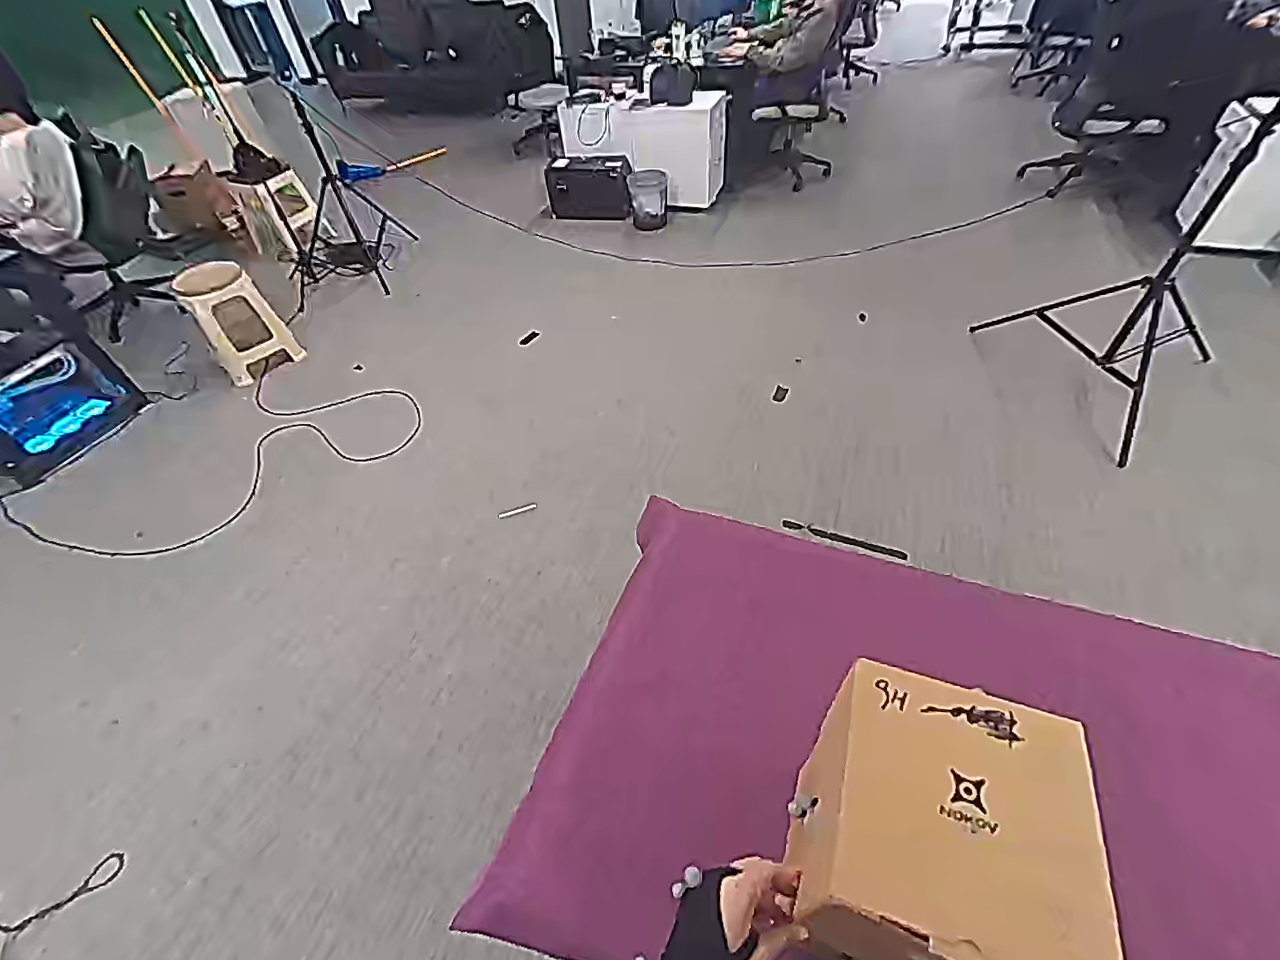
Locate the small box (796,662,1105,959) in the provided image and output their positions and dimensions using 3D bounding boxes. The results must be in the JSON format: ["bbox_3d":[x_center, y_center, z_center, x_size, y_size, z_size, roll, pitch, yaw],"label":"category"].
[{"bbox_3d":[0.232,0.288,0.443,0.168,0.176,0.179,14,50,17],"label":"small box"}]

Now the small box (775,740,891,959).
[{"bbox_3d":[0.243,0.403,0.560,0.168,0.176,0.179,15,50,18],"label":"small box"}]
